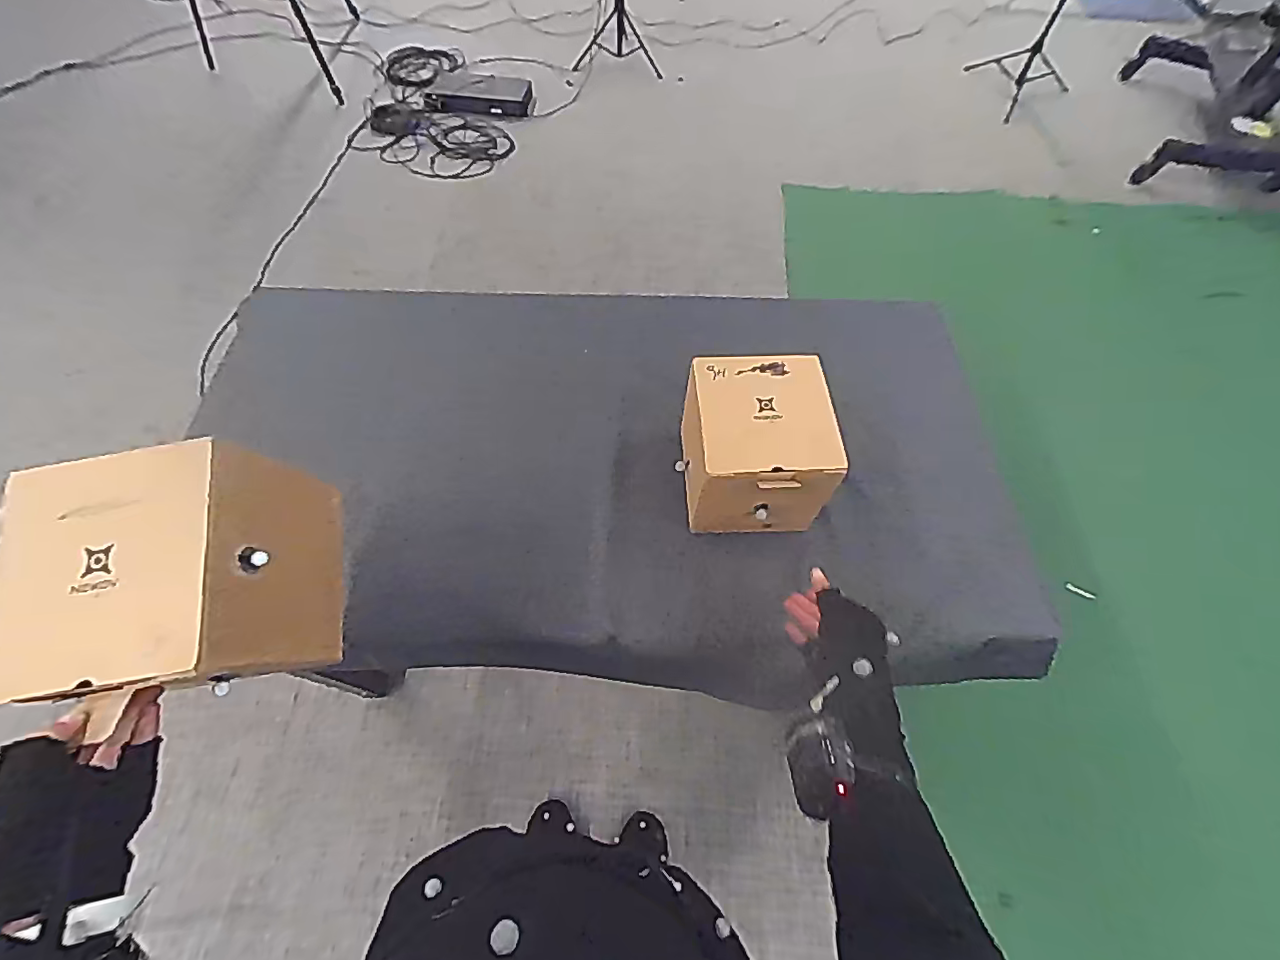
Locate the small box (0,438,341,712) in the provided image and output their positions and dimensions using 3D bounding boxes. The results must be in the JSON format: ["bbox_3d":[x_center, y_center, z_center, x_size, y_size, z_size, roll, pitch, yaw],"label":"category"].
[{"bbox_3d":[-0.382,0.084,0.464,0.168,0.176,0.179,-10,73,1],"label":"small box"}]

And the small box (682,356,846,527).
[{"bbox_3d":[0.150,-0.043,0.721,0.168,0.176,0.179,-1,62,-3],"label":"small box"}]
